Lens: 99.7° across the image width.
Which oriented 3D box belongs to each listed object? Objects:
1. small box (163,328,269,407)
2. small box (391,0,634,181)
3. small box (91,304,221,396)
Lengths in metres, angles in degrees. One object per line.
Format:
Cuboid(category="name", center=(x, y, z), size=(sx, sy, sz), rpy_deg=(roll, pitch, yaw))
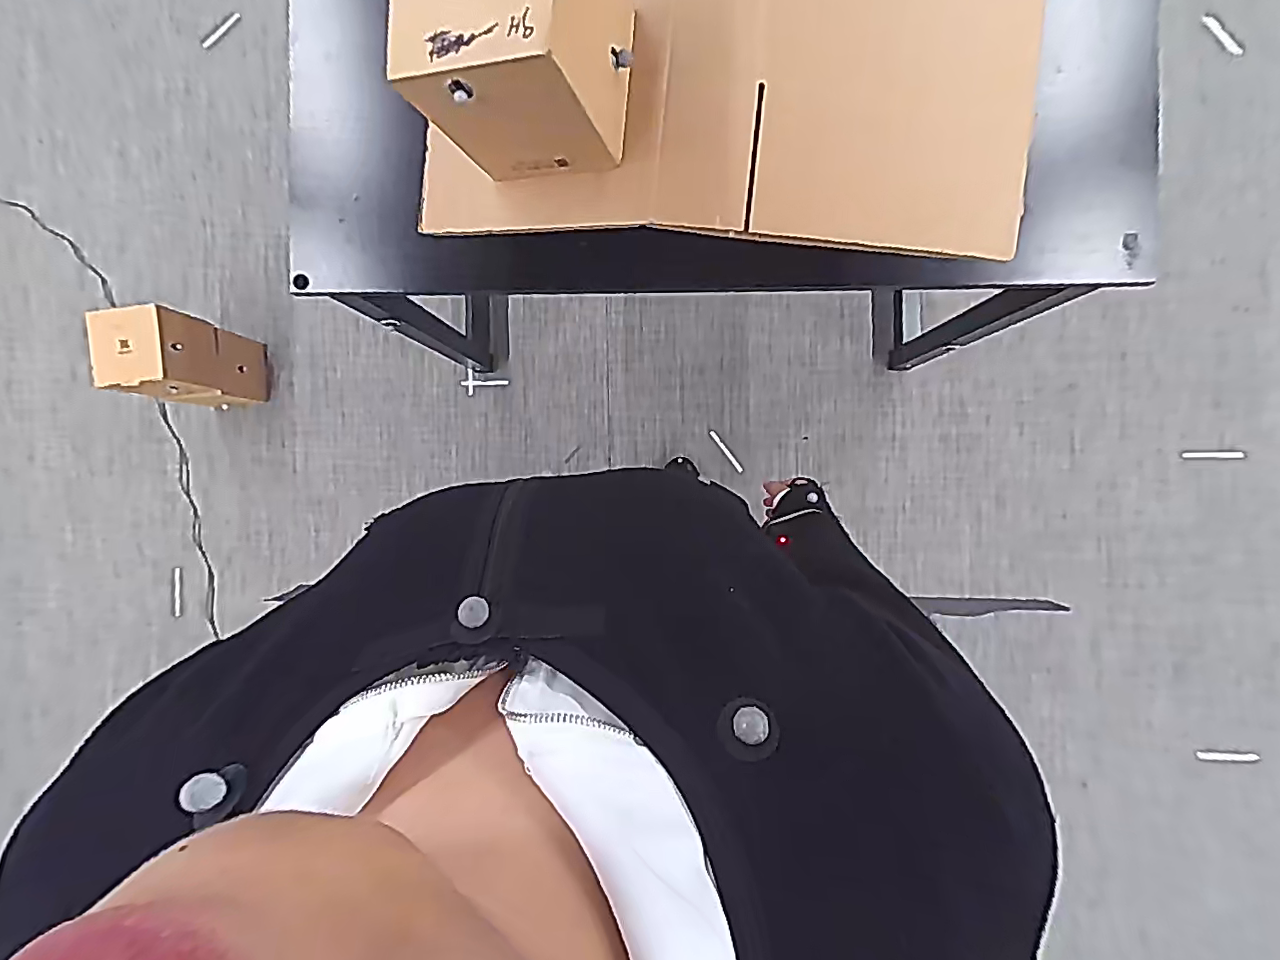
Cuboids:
Cuboid(category="small box", center=(-1.146, -0.299, 1.466), size=(0.168, 0.176, 0.179), rpy_deg=(-3, 91, 3))
Cuboid(category="small box", center=(-0.112, -0.431, 0.535), size=(0.168, 0.176, 0.179), rpy_deg=(6, 90, 18))
Cuboid(category="small box", center=(-1.156, -0.304, 1.304), size=(0.168, 0.176, 0.179), rpy_deg=(-7, 89, 2))
